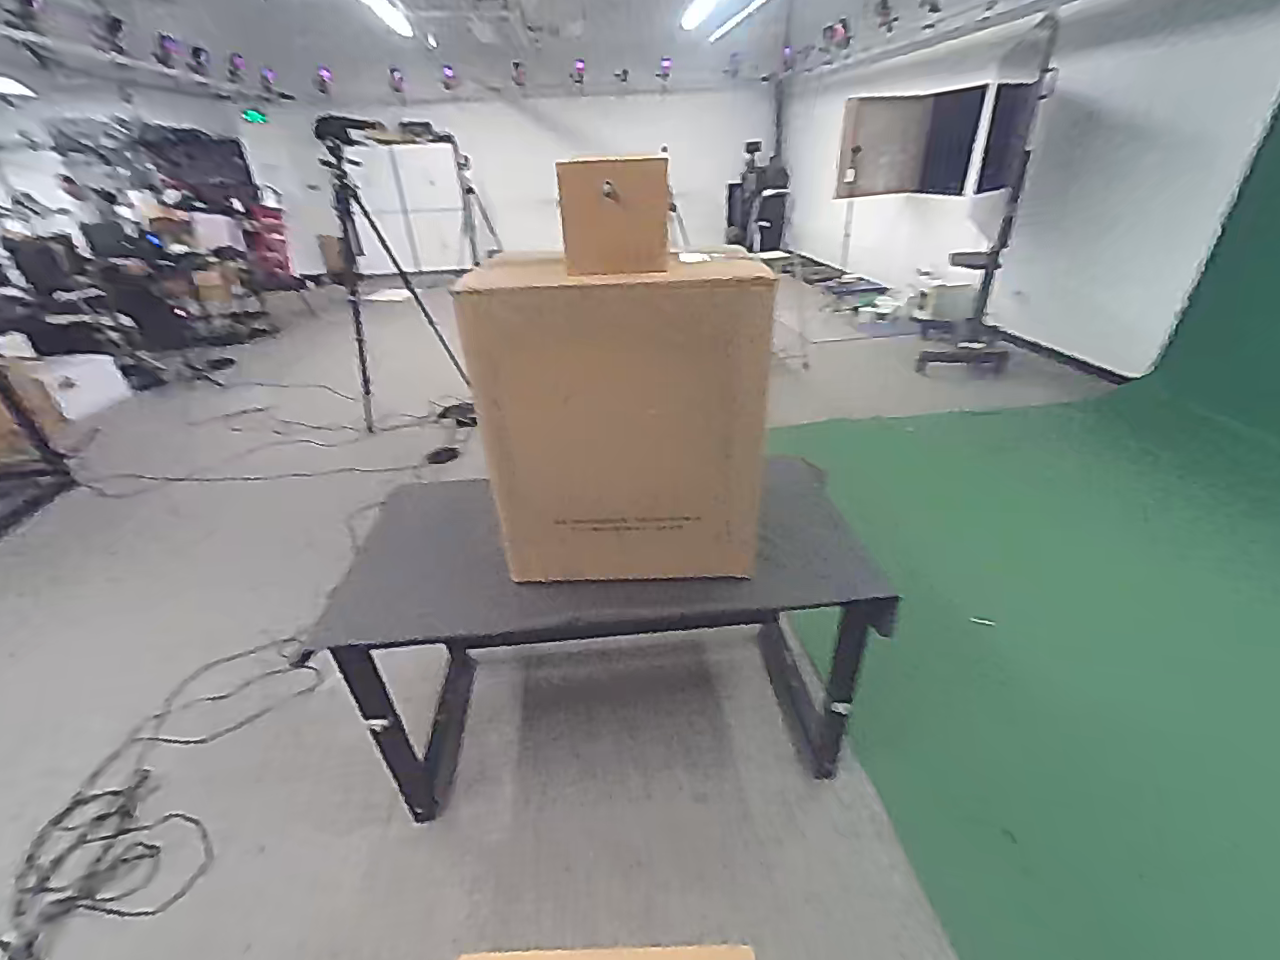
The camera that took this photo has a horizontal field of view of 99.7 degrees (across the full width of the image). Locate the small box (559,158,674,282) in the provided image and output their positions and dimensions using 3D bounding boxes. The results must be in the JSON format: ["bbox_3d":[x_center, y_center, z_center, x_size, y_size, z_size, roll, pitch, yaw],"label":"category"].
[{"bbox_3d":[-0.032,-0.444,0.924,0.179,0.176,0.168,-1,33,3],"label":"small box"}]
